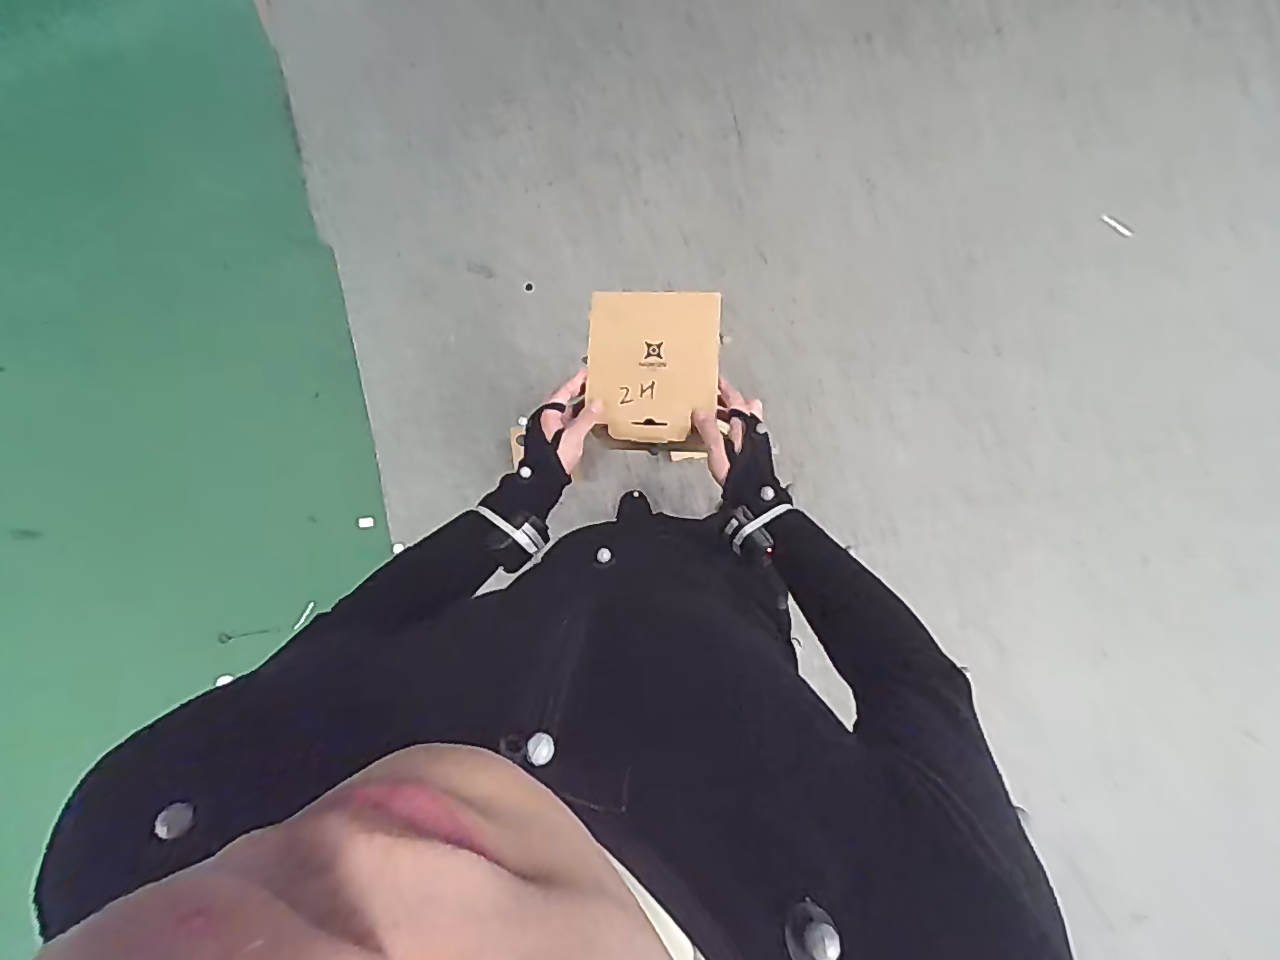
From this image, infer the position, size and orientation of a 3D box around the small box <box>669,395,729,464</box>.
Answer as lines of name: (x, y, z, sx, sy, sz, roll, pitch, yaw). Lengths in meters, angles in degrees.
small box: (0.159, -0.144, 1.556, 0.168, 0.176, 0.179, -9, 90, 5)

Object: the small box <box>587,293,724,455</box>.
small box: (0.026, -0.140, 0.756, 0.168, 0.176, 0.179, 2, 82, 5)

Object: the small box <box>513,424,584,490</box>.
small box: (-0.267, -0.066, 1.613, 0.168, 0.176, 0.179, -6, 88, 4)
